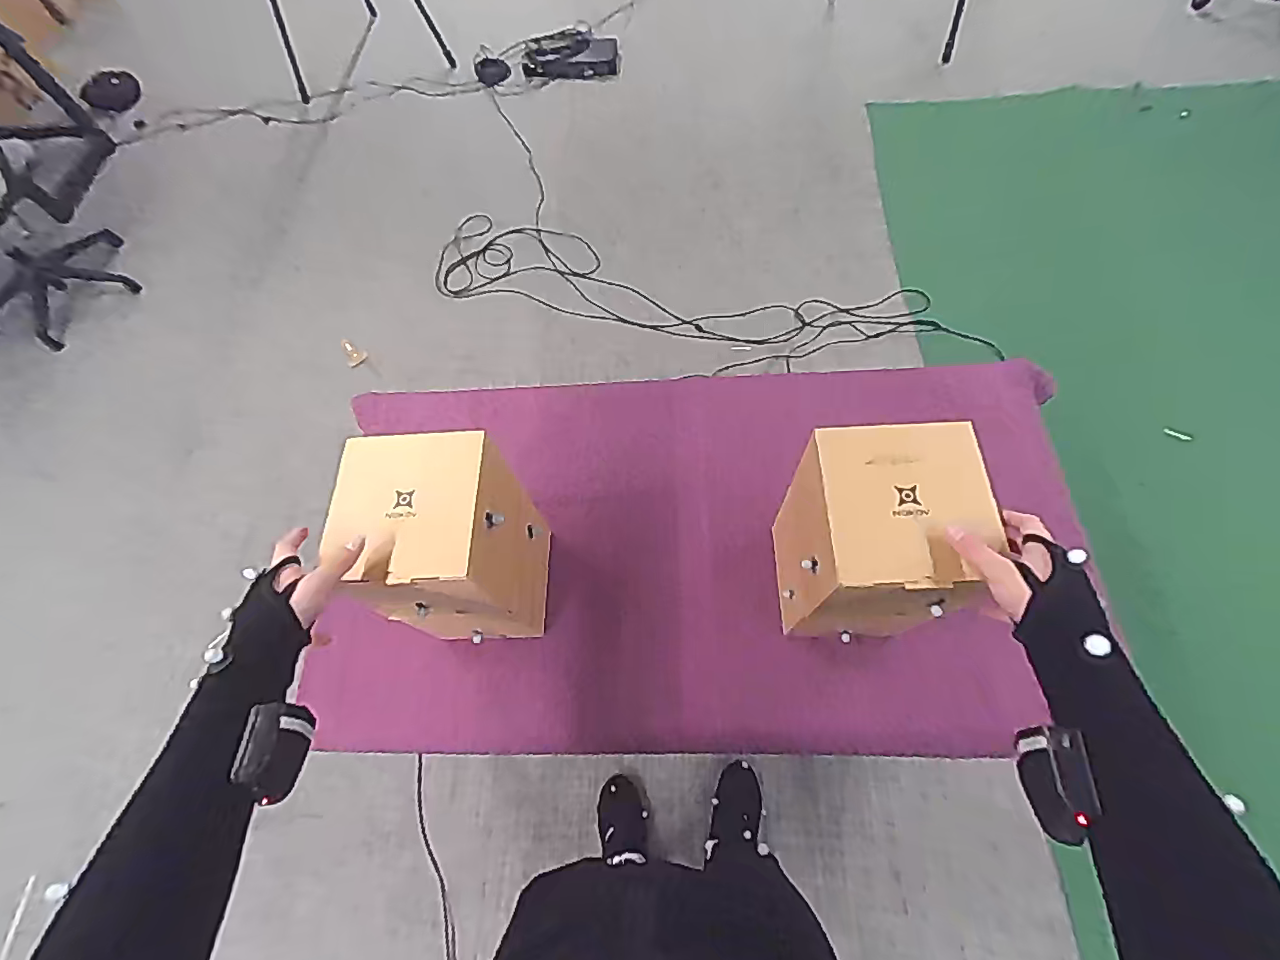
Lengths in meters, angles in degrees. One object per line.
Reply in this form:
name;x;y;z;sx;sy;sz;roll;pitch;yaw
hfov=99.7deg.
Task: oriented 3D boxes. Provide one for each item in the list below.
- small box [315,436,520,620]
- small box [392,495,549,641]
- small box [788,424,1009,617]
small box;-0.252;0.065;0.664;0.168;0.176;0.179;-3;64;4
small box;-0.238;0.136;0.808;0.168;0.176;0.179;-2;64;5
small box;0.270;0.055;0.614;0.168;0.176;0.179;-2;64;5
